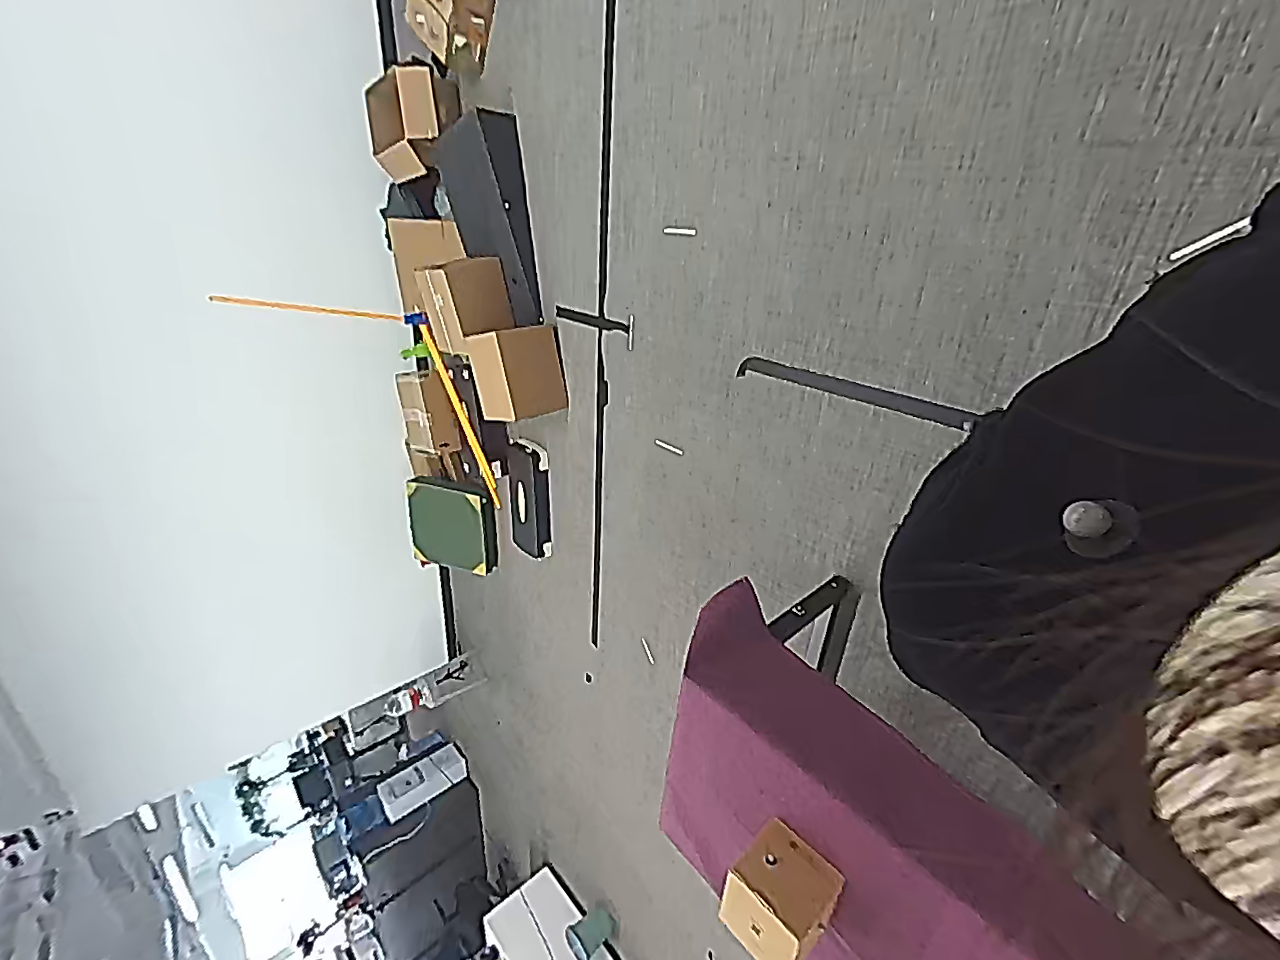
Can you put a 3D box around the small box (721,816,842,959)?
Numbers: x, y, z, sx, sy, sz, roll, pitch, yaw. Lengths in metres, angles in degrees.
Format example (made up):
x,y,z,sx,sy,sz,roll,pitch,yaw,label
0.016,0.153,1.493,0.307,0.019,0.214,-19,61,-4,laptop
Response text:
x,y,z,sx,sy,sz,roll,pitch,yaw,label
0.291,0.847,1.112,0.168,0.176,0.179,28,125,41,small box
